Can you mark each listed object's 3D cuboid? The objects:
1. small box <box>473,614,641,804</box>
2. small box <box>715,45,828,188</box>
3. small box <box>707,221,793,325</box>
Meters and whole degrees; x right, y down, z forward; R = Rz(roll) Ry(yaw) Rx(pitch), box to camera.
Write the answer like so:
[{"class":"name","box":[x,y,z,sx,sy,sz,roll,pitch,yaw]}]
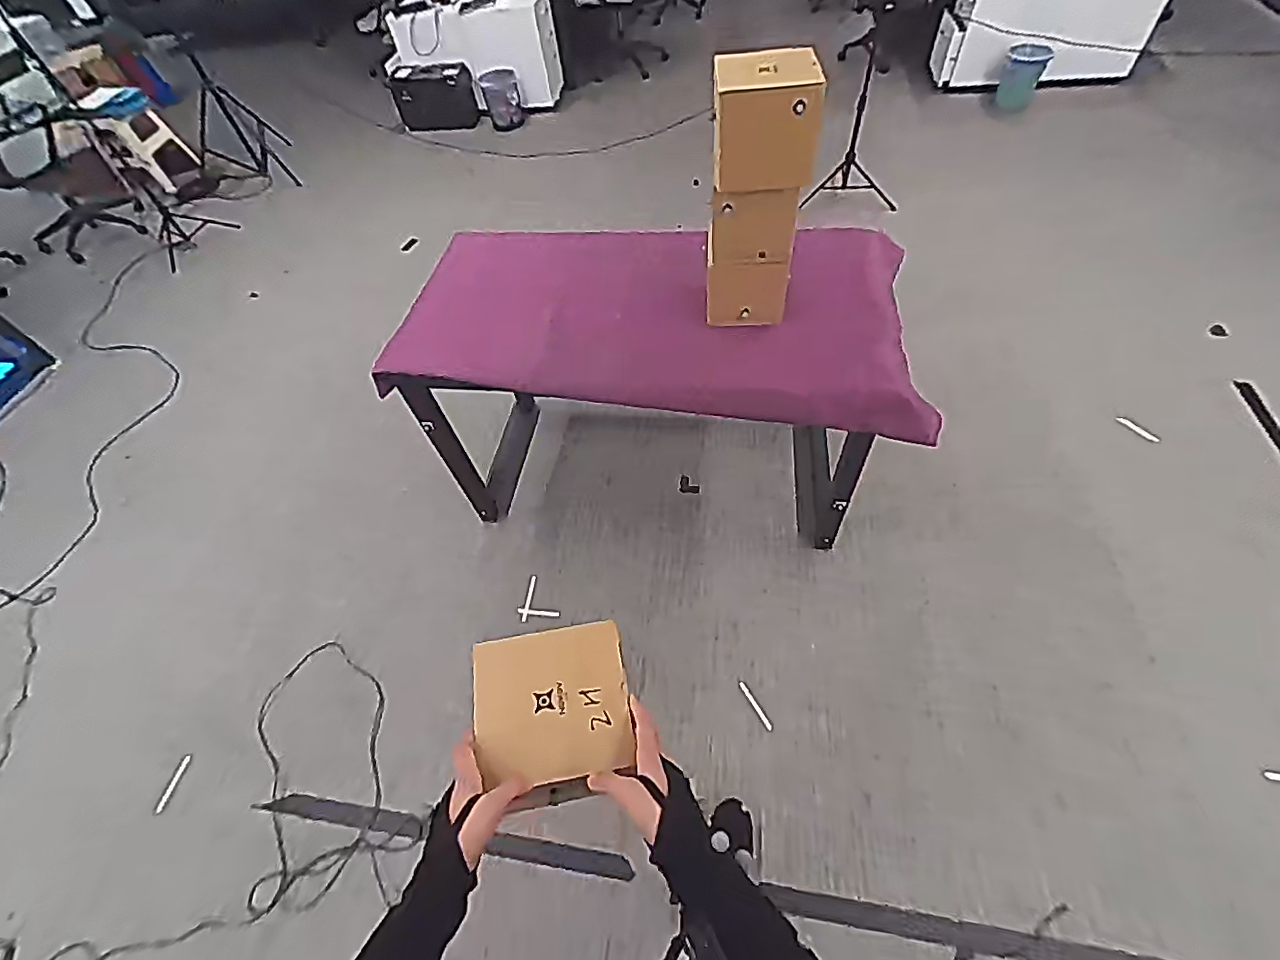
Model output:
[{"class":"small box","box":[-0.096,0.285,0.666,0.179,0.176,0.168,-8,55,-6]},{"class":"small box","box":[0.226,-0.651,0.979,0.179,0.176,0.168,-1,54,6]},{"class":"small box","box":[0.249,-0.477,1.256,0.179,0.176,0.168,1,54,7]}]
